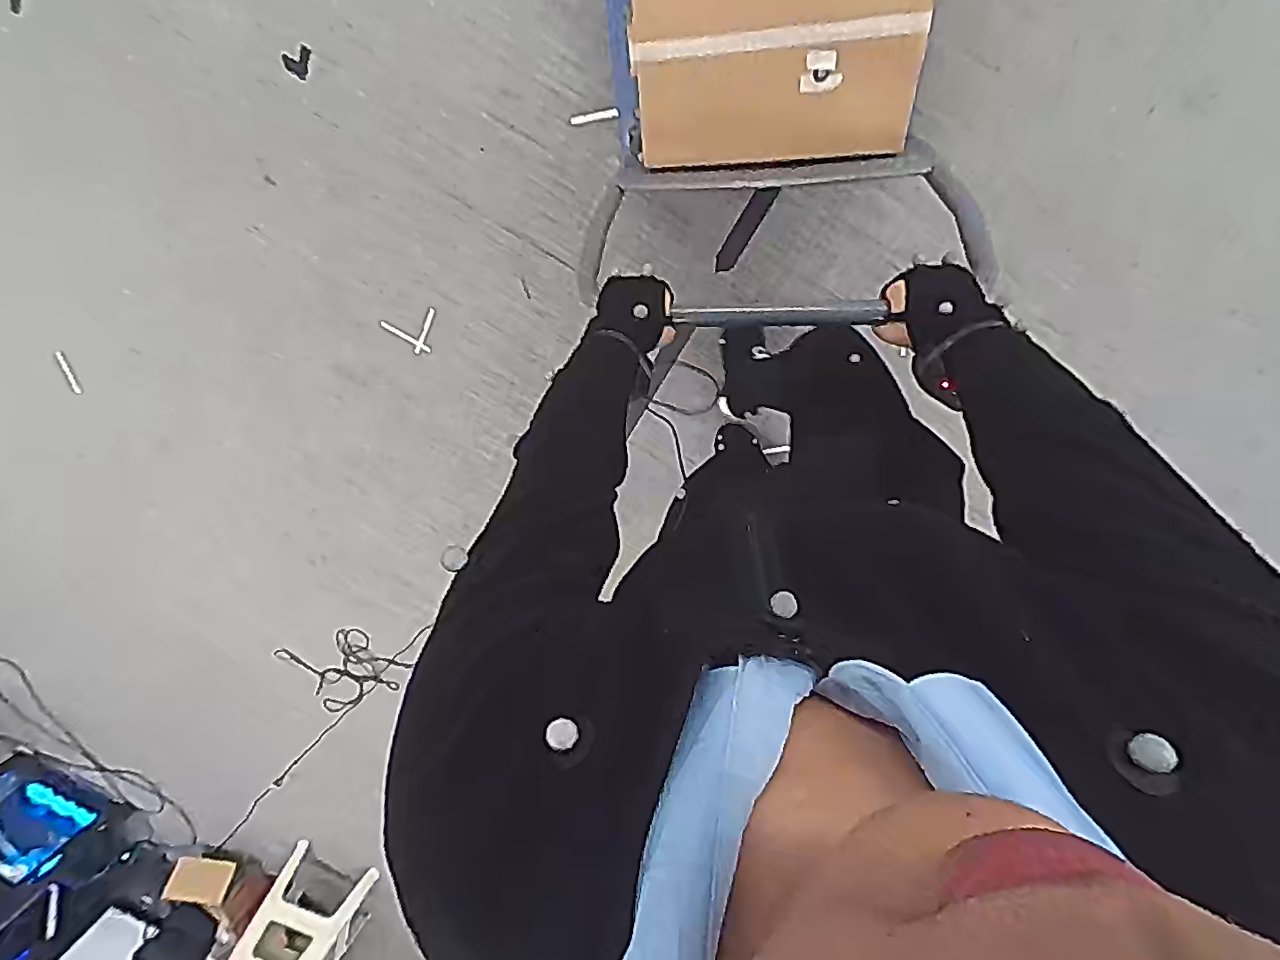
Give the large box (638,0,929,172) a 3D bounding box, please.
[{"bbox_3d":[0.216,-0.731,0.891,0.408,0.320,0.320,0,132,9],"label":"large box"}]
